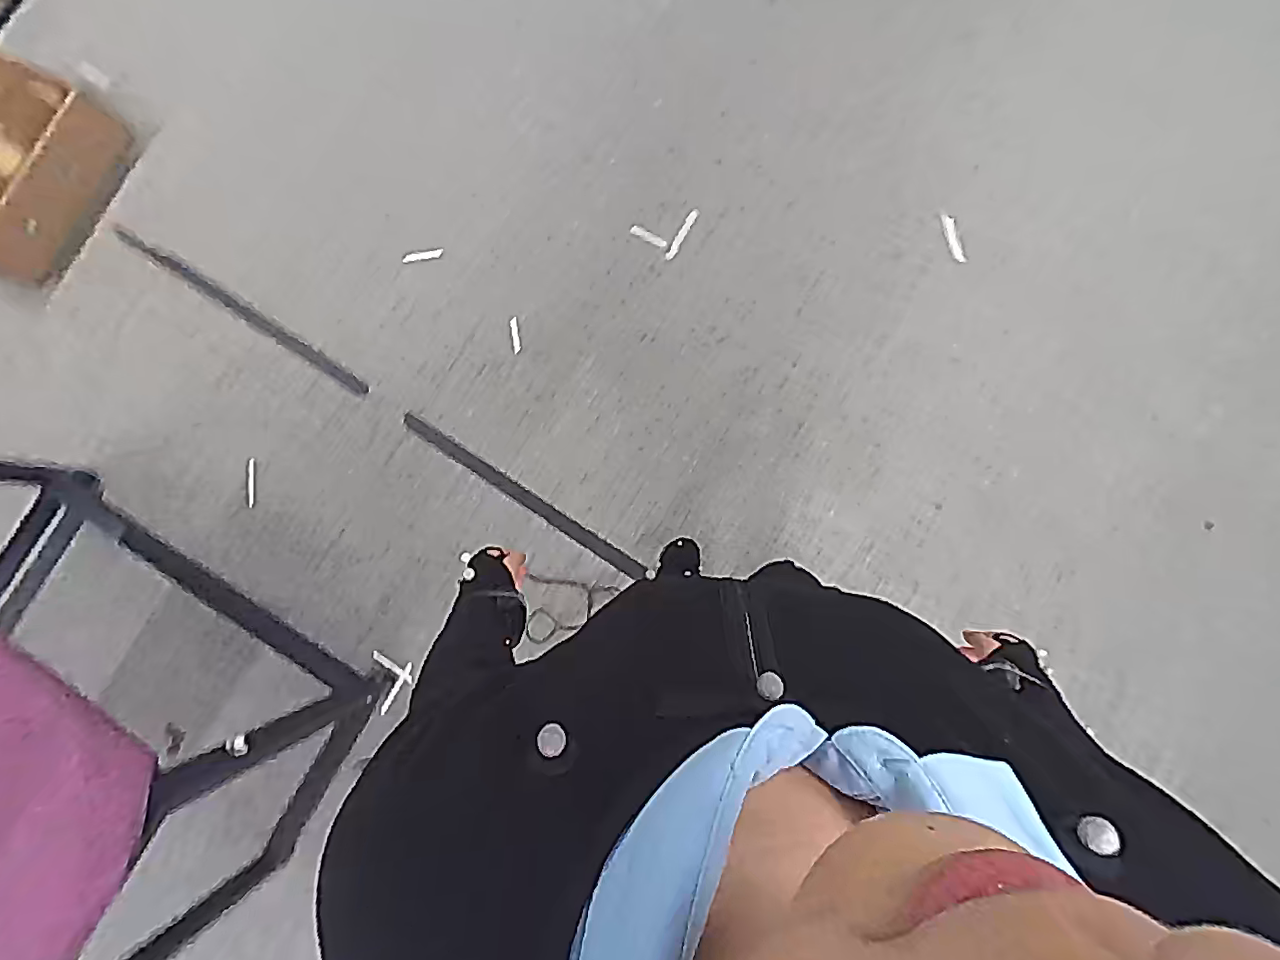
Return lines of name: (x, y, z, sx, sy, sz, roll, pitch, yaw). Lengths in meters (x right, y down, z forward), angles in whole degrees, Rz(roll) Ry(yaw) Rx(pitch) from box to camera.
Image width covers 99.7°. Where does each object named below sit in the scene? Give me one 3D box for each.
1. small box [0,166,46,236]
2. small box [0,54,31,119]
small box: (-2.002, -0.883, 1.642, 0.179, 0.176, 0.168, 37, 86, 7)
small box: (-1.876, -1.145, 1.496, 0.179, 0.176, 0.168, 27, 86, 8)
